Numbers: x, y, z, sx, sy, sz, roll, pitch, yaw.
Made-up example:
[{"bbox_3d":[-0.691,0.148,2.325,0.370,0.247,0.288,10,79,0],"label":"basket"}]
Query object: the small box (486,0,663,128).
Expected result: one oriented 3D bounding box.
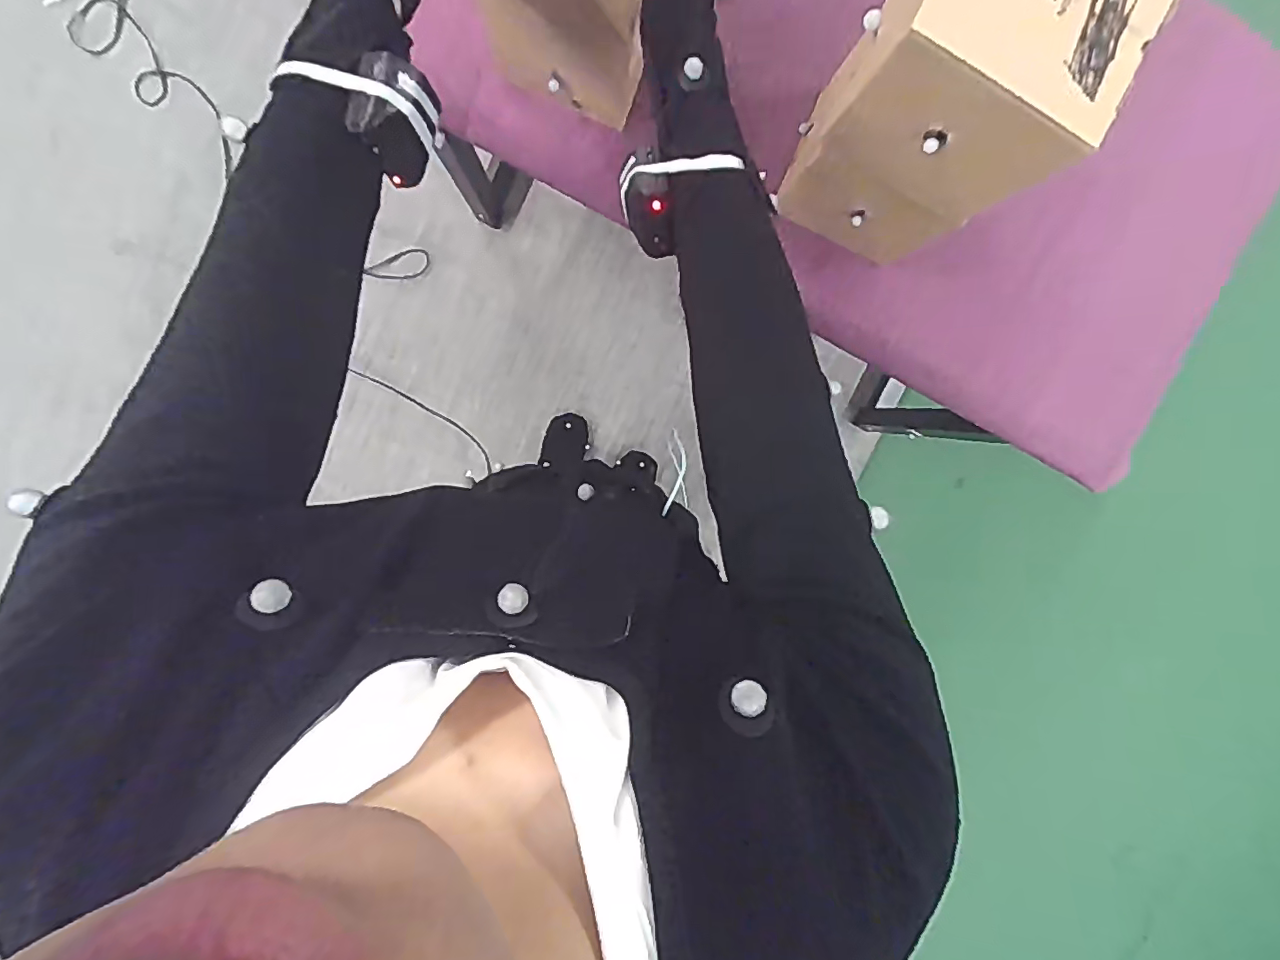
[{"bbox_3d":[-0.064,-0.540,0.591,0.168,0.176,0.179,20,95,-8],"label":"small box"}]
